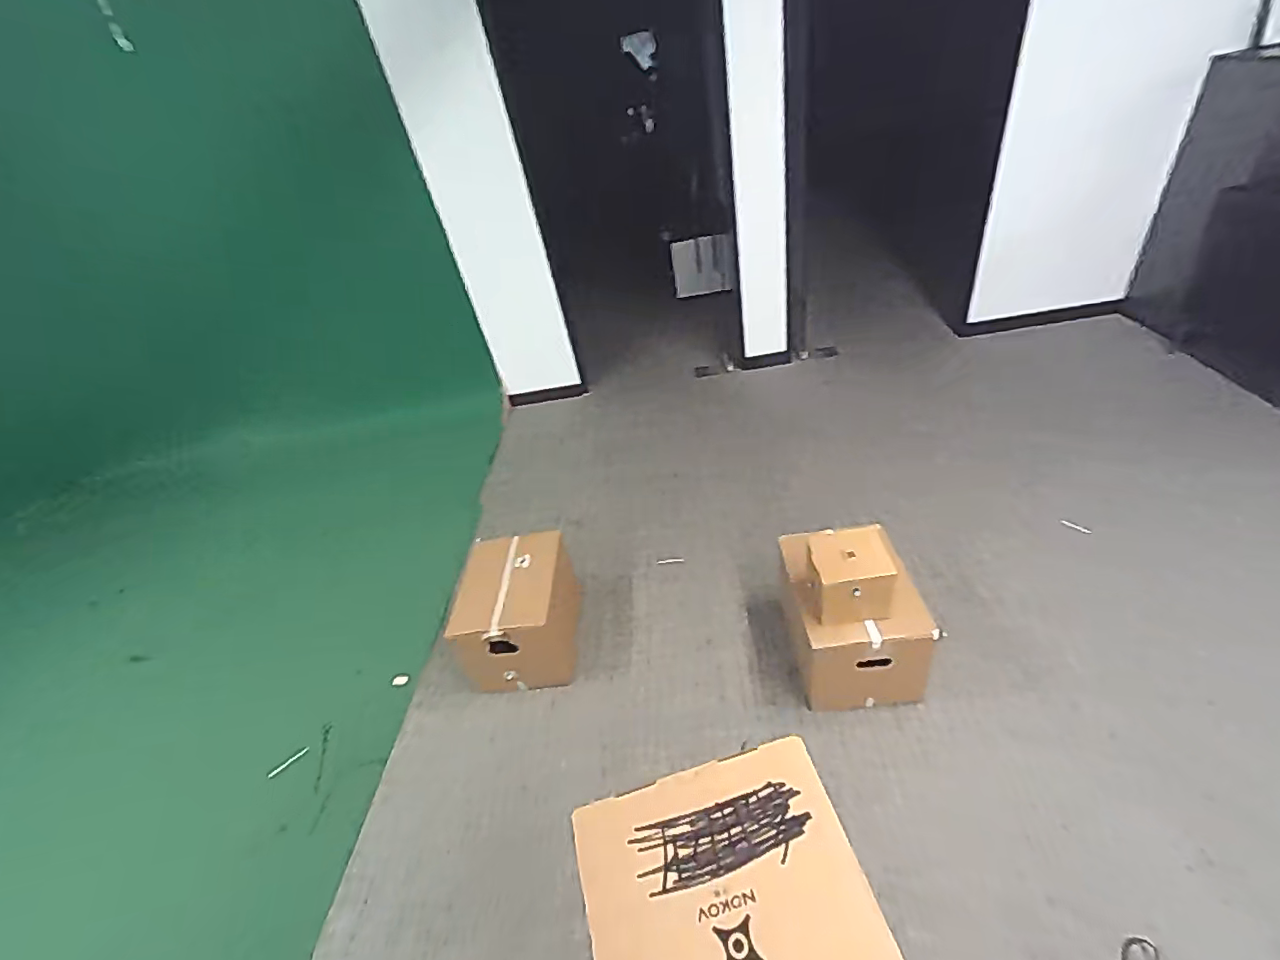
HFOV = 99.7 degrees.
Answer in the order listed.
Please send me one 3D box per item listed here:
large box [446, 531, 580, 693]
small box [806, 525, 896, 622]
[{"bbox_3d":[-0.399,0.436,1.812,0.320,0.320,0.408,-9,37,6],"label":"large box"},{"bbox_3d":[0.533,0.243,1.390,0.179,0.176,0.168,-11,38,7],"label":"small box"}]
